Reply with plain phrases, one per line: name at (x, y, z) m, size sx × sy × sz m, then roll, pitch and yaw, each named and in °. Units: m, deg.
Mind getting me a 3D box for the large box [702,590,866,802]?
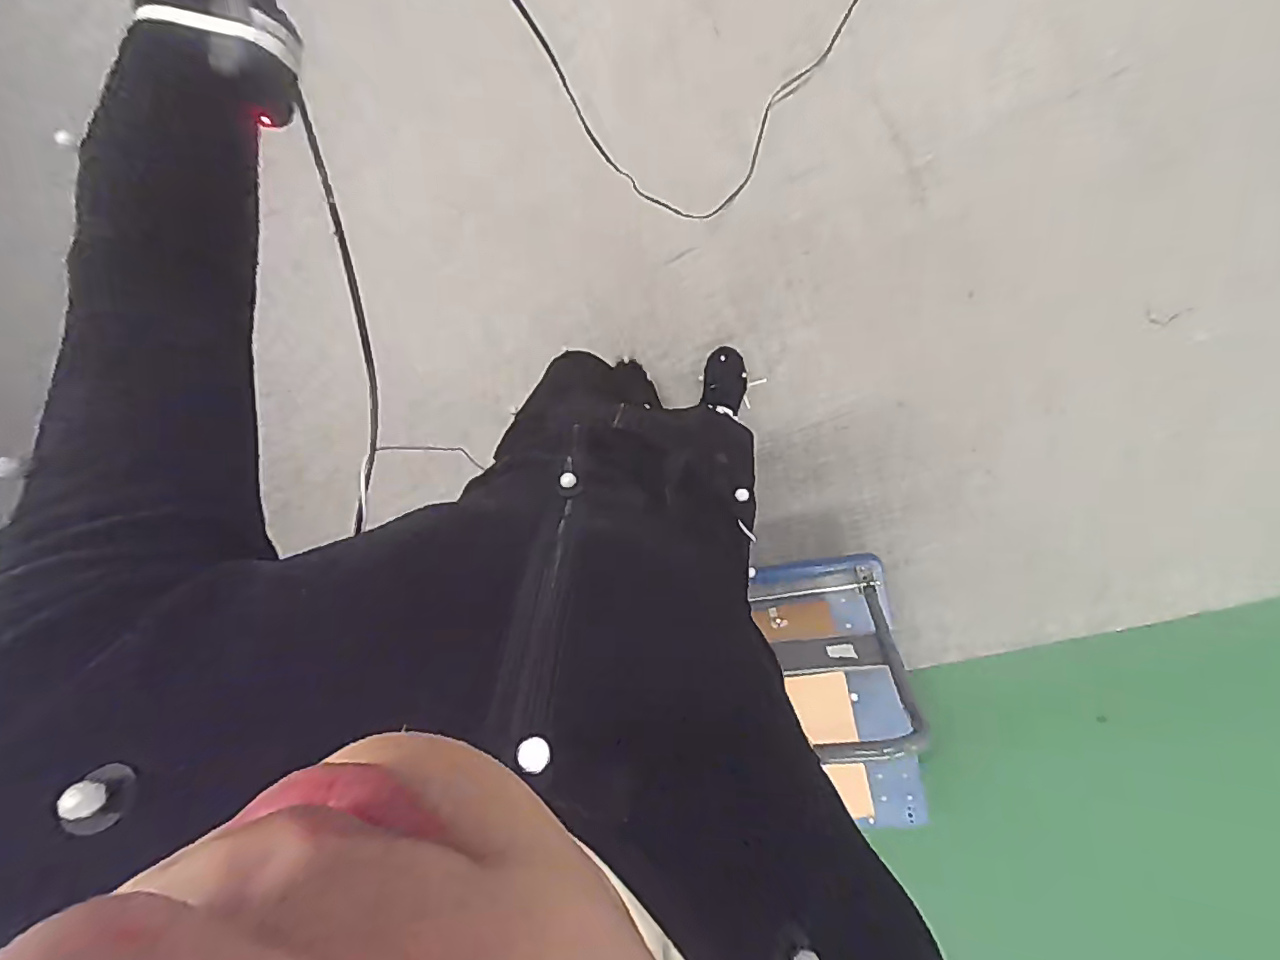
large box at (0.373, 0.556, 1.422) m, size 0.320 × 0.320 × 0.408 m, roll -12°, pitch 104°, yaw 16°
